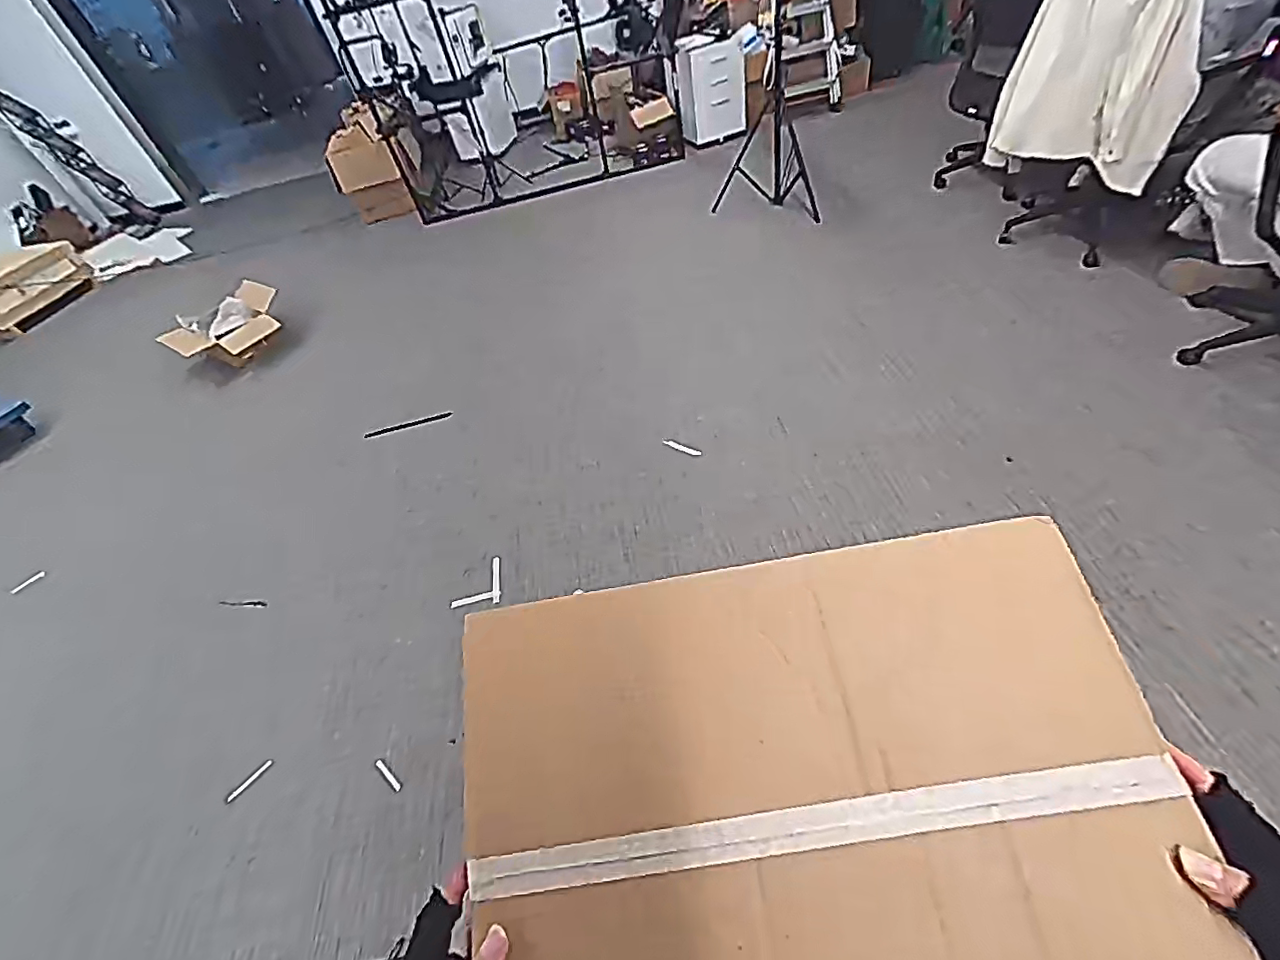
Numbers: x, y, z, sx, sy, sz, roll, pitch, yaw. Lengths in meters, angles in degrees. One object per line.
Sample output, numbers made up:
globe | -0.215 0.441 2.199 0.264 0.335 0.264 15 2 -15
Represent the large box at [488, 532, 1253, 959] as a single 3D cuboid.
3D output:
large box | 0.123 0.269 0.453 0.408 0.320 0.320 -10 66 3
